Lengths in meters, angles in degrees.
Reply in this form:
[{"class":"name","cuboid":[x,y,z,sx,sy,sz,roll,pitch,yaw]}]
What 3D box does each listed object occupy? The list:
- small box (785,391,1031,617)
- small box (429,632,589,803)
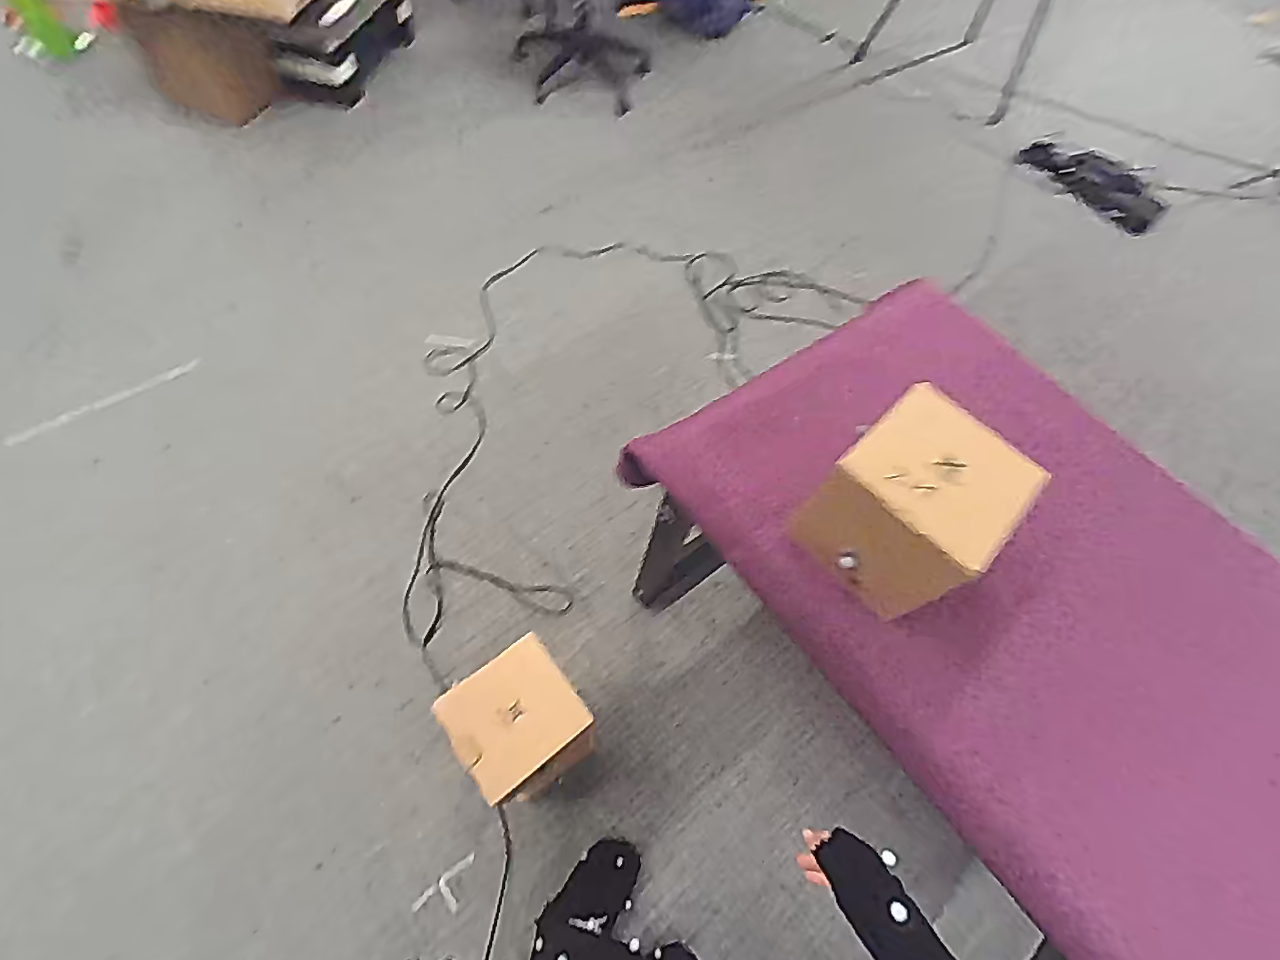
[{"class":"small box","cuboid":[0.305,0.034,0.649,0.179,0.176,0.168,-38,73,-25]},{"class":"small box","cuboid":[-0.198,0.372,0.857,0.179,0.176,0.168,-34,70,-20]}]
